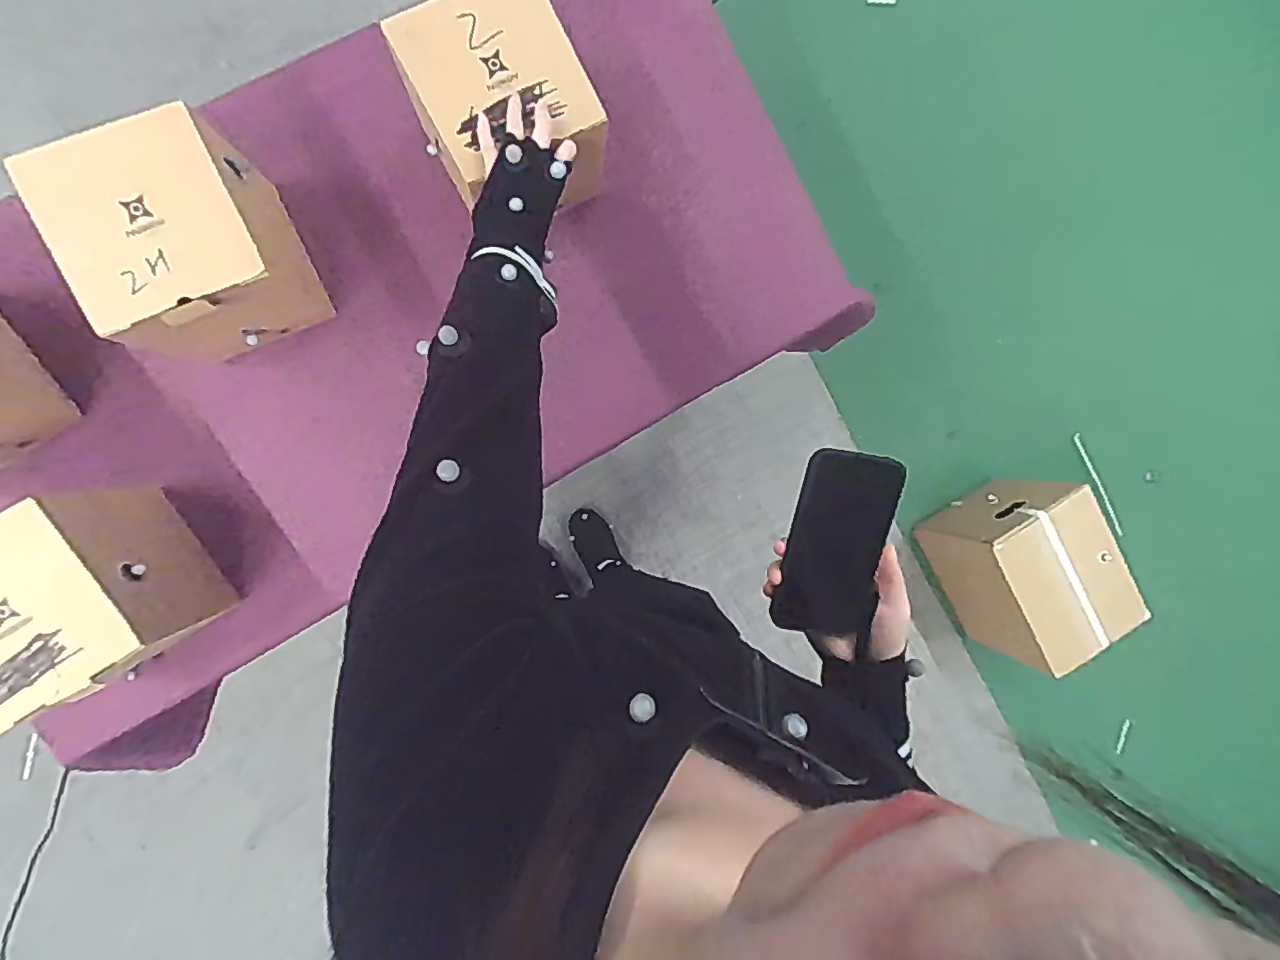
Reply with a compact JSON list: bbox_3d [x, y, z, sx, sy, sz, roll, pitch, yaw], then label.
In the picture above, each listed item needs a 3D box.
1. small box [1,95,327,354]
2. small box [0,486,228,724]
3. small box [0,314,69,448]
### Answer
[{"bbox_3d":[-0.484,-0.256,0.585,0.168,0.176,0.179,-24,97,-6],"label":"small box"},{"bbox_3d":[-0.609,0.120,0.586,0.168,0.176,0.179,-32,96,-6],"label":"small box"},{"bbox_3d":[-0.771,-0.105,0.549,0.168,0.176,0.179,-35,98,-6],"label":"small box"}]
